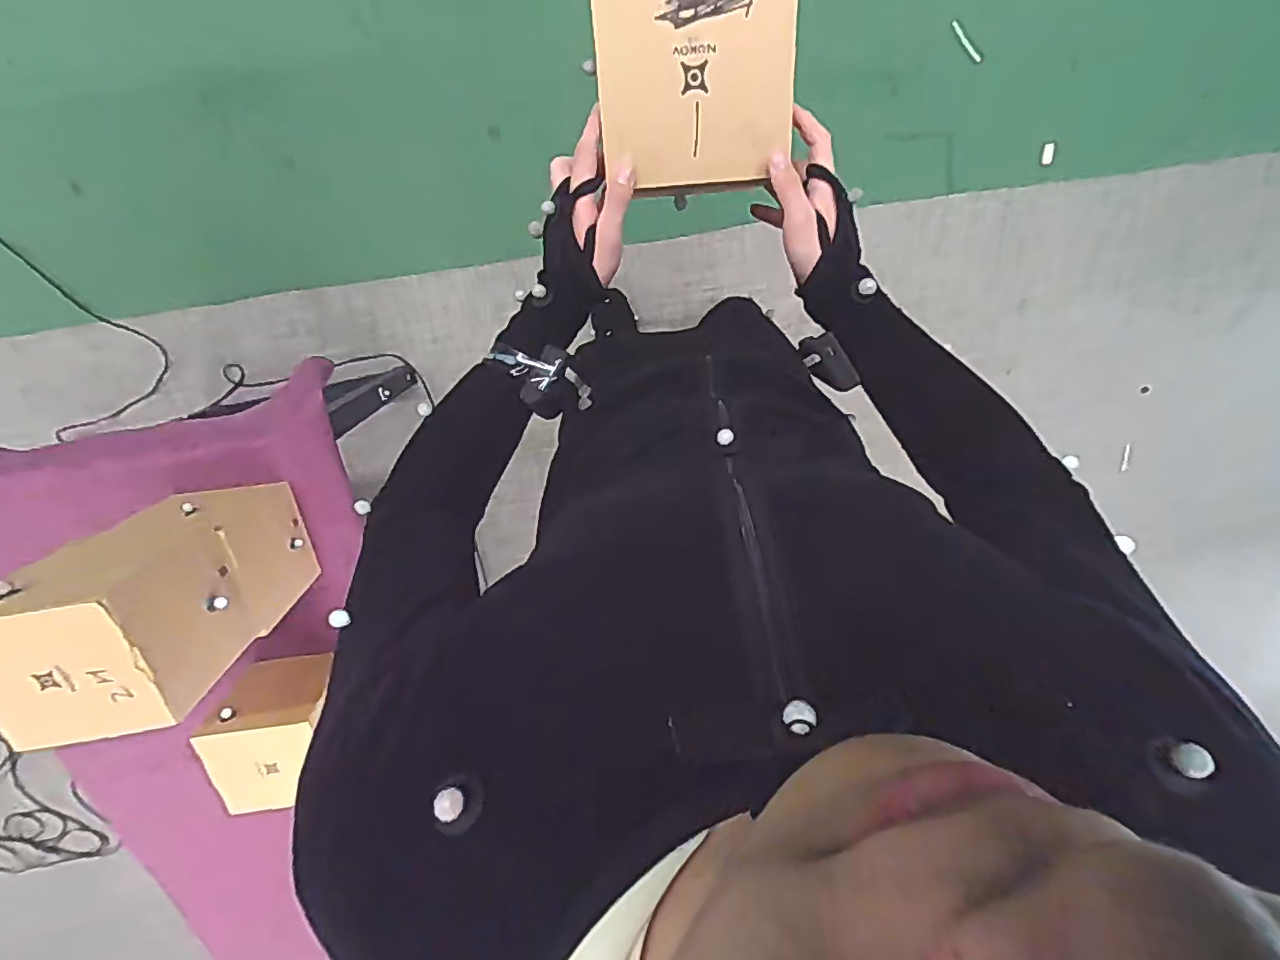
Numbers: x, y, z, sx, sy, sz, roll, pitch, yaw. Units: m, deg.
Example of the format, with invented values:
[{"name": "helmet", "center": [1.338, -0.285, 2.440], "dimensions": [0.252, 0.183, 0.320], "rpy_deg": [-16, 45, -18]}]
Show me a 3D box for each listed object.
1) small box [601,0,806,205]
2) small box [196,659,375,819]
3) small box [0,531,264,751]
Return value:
[{"name": "small box", "center": [0.051, -0.370, 0.519], "dimensions": [0.168, 0.176, 0.179], "rpy_deg": [-4, 115, 1]}, {"name": "small box", "center": [-0.564, 0.419, 0.897], "dimensions": [0.179, 0.176, 0.168], "rpy_deg": [-7, 111, -1]}, {"name": "small box", "center": [-0.591, 0.174, 0.624], "dimensions": [0.179, 0.176, 0.168], "rpy_deg": [-8, 112, -2]}]
